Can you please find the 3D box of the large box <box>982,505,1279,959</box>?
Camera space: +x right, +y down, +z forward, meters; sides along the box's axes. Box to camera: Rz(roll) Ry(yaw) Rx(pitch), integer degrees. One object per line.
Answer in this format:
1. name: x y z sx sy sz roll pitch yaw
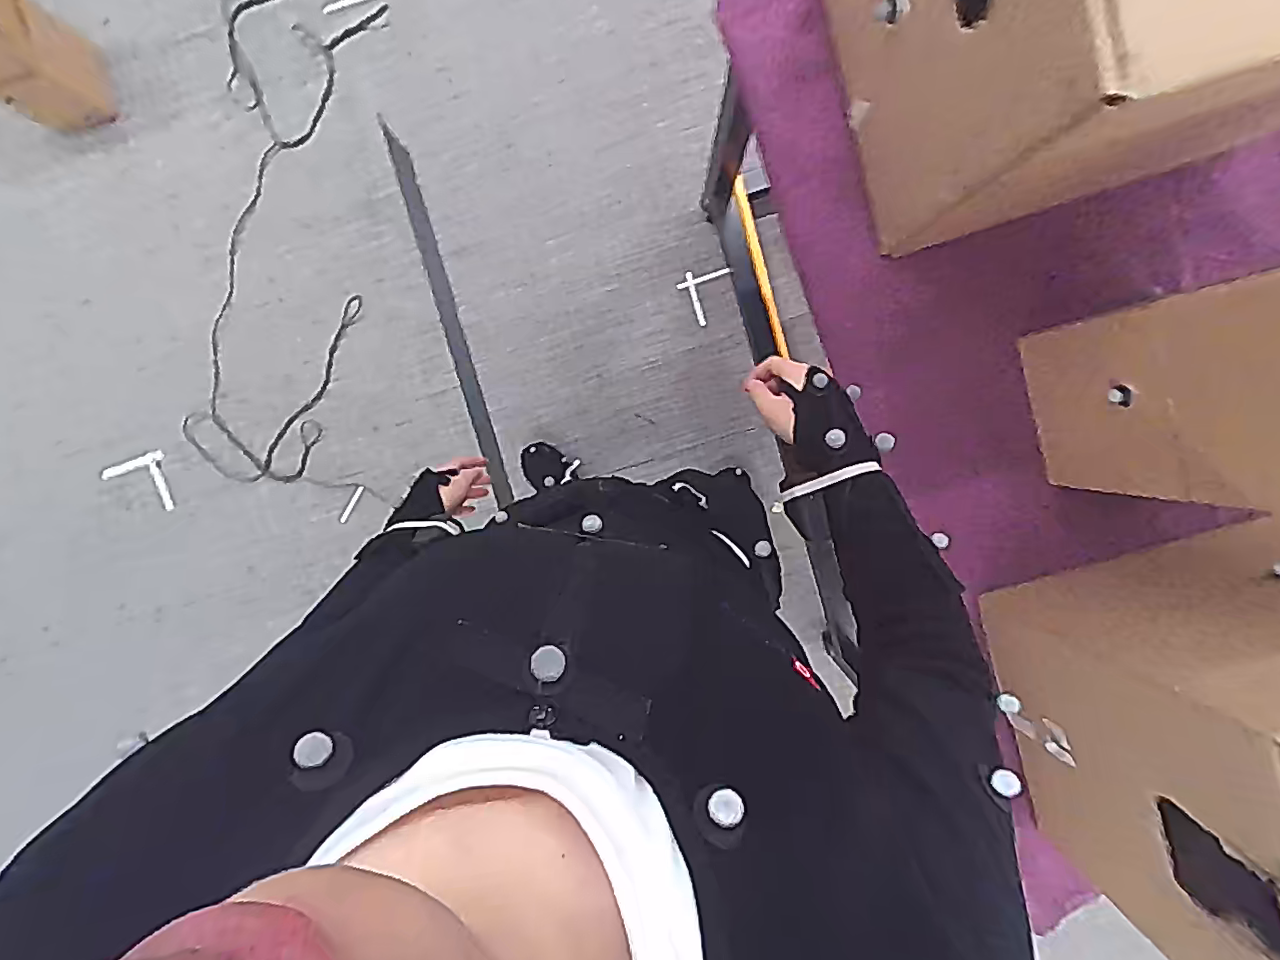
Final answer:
1. large box: 0.628 0.231 0.490 0.408 0.320 0.320 -17 94 1
